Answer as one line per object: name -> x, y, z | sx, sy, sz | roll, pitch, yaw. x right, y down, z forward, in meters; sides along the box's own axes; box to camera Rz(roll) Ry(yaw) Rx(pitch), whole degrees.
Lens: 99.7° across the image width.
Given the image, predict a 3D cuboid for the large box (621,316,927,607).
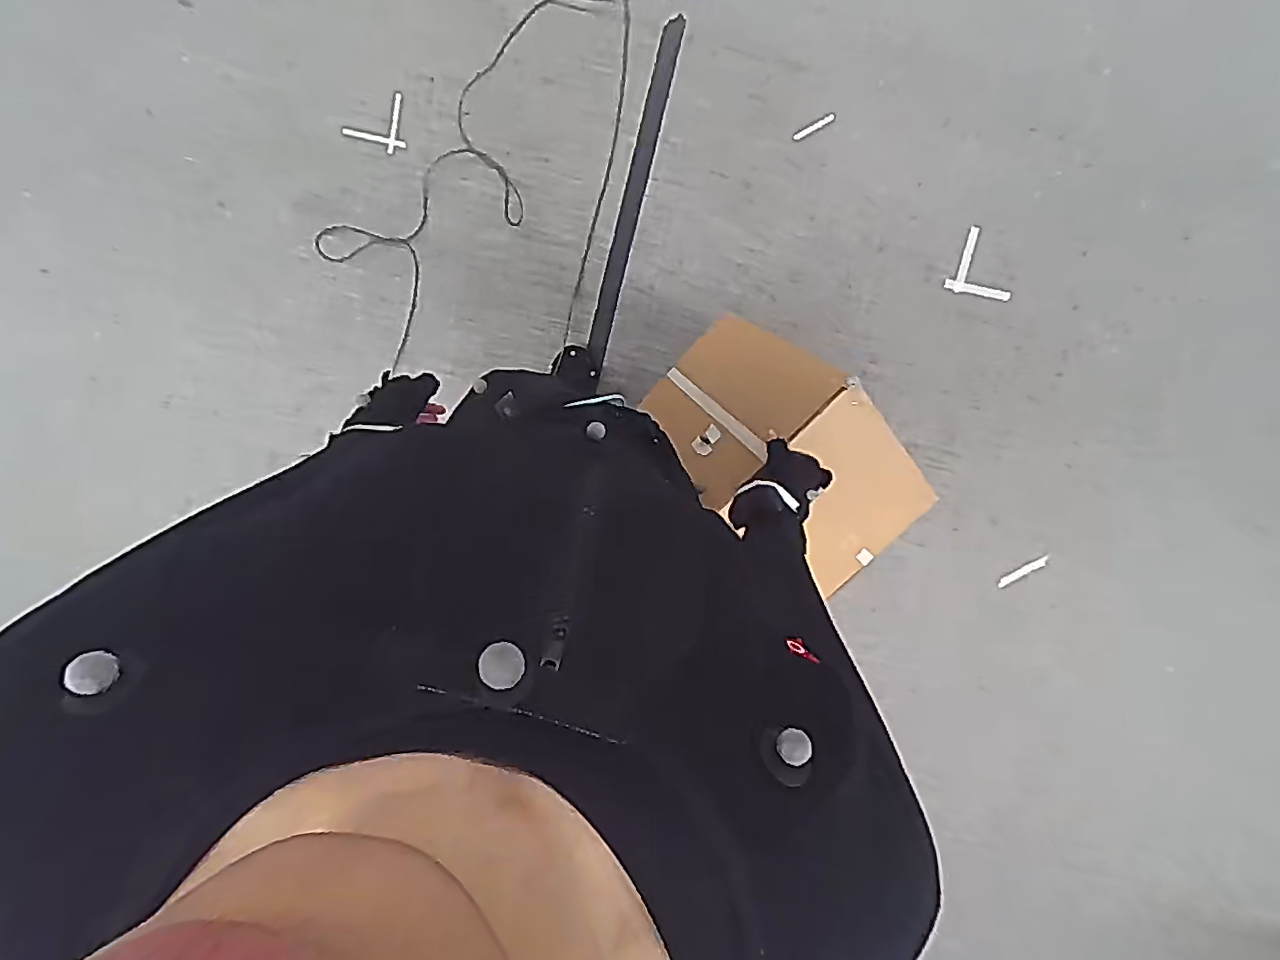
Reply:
large box -> 0.222, -0.048, 1.002 | 0.320, 0.408, 0.320 | -46, 124, 9
